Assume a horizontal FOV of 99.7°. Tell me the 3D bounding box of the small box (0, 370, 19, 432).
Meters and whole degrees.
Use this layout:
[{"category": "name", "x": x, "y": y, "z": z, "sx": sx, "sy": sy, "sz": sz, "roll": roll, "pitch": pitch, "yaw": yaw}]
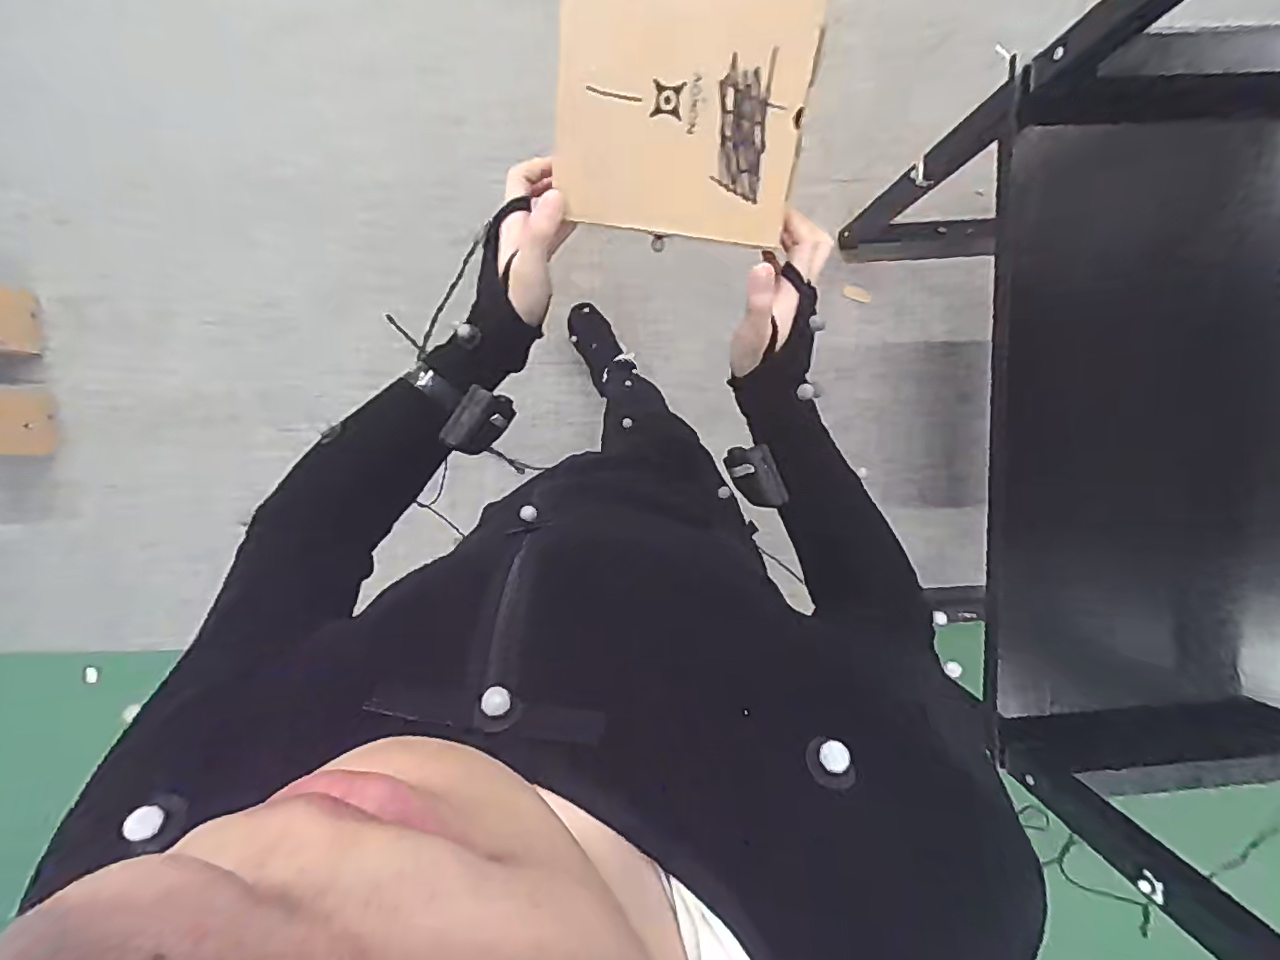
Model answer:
[{"category": "small box", "x": -1.779, "y": -0.209, "z": 1.399, "sx": 0.179, "sy": 0.176, "sz": 0.168, "roll": 2, "pitch": 96, "yaw": -3}]
